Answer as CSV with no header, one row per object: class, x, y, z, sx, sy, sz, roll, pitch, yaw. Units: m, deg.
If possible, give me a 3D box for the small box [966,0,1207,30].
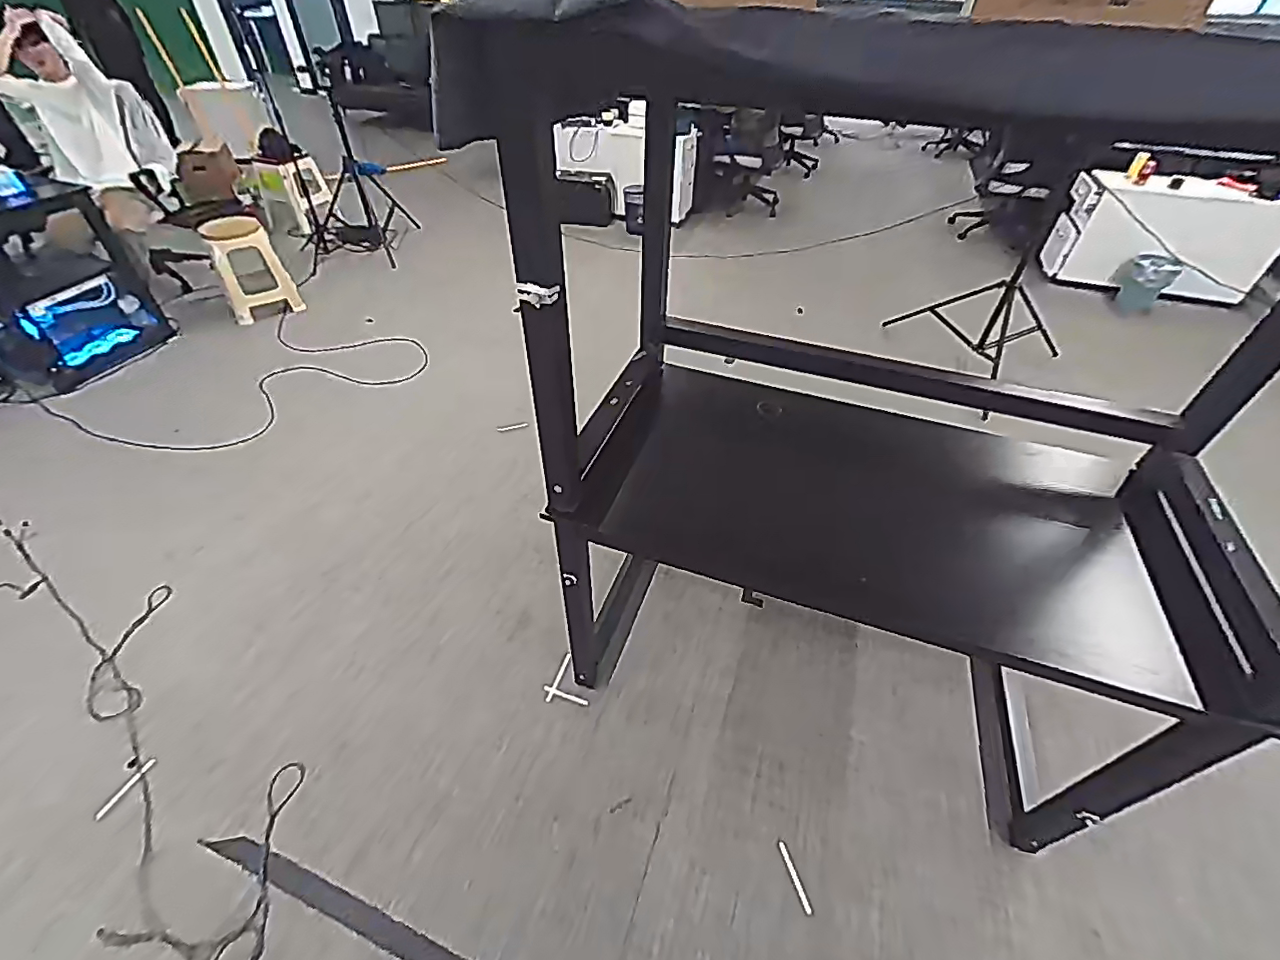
small box,0.390,-0.486,0.442,0.168,0.176,0.179,16,43,15
